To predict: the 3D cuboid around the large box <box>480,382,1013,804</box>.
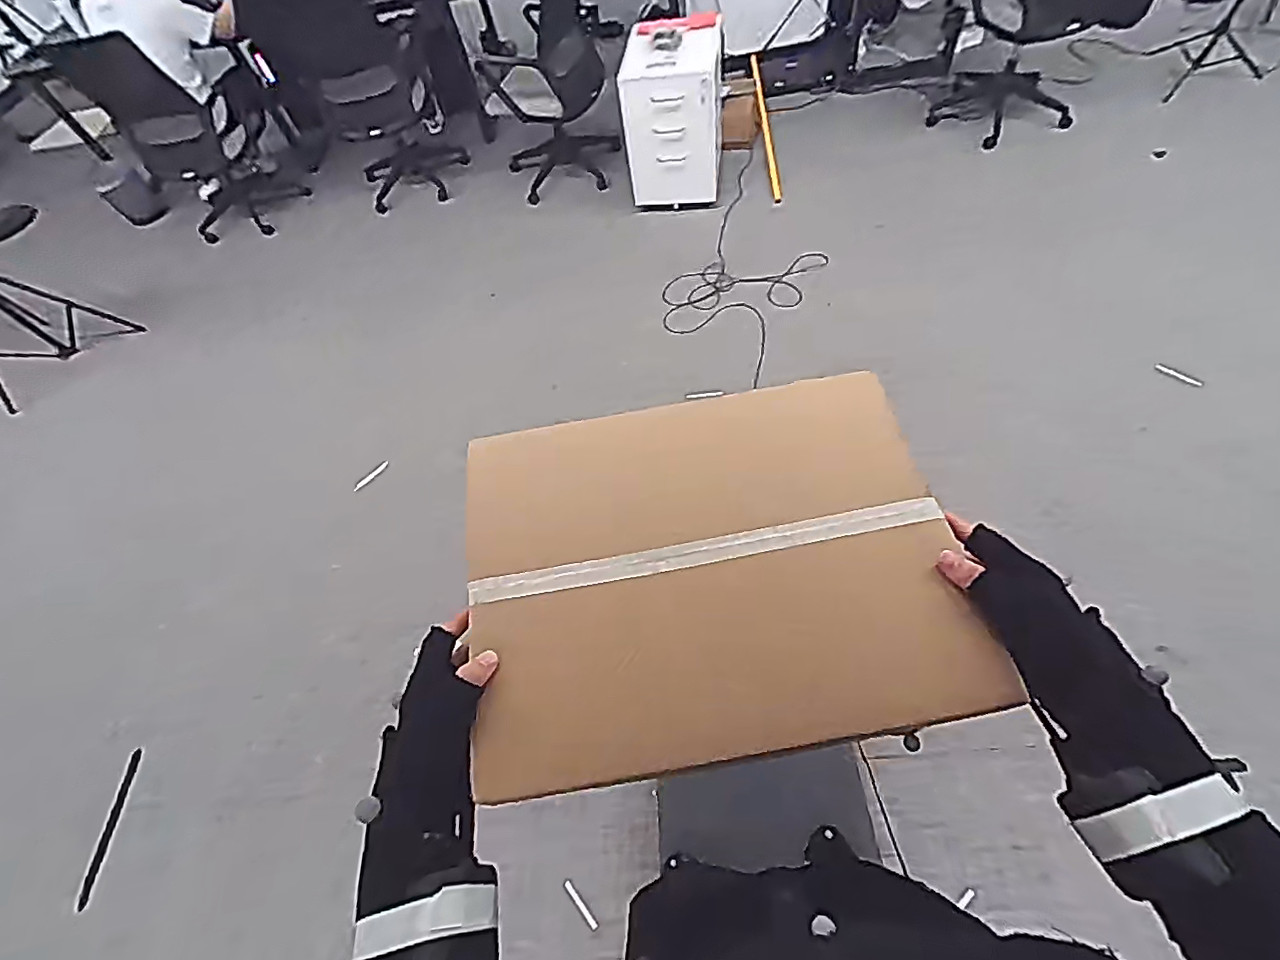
[{"bbox_3d":[0.073,0.137,0.598,0.408,0.320,0.320,-10,61,-1],"label":"large box"}]
